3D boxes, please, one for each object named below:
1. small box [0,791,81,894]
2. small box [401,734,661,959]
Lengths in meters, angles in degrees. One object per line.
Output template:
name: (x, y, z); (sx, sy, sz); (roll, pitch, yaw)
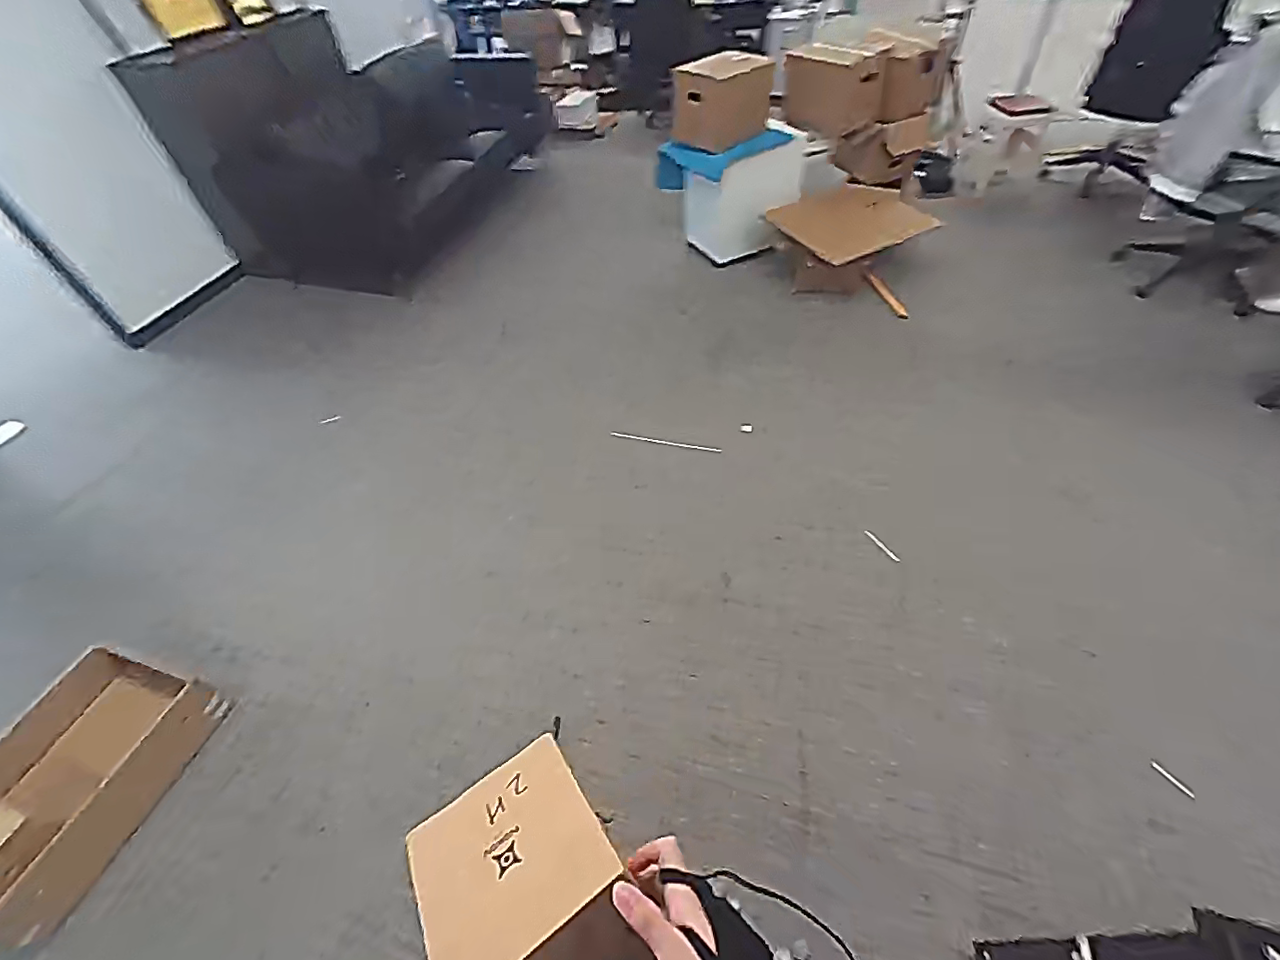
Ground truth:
small box: (-1.555, 0.884, 1.321); (0.179, 0.176, 0.168); (12, 51, 16)
small box: (-0.103, 0.402, 0.525); (0.168, 0.176, 0.179); (-30, 30, -20)
